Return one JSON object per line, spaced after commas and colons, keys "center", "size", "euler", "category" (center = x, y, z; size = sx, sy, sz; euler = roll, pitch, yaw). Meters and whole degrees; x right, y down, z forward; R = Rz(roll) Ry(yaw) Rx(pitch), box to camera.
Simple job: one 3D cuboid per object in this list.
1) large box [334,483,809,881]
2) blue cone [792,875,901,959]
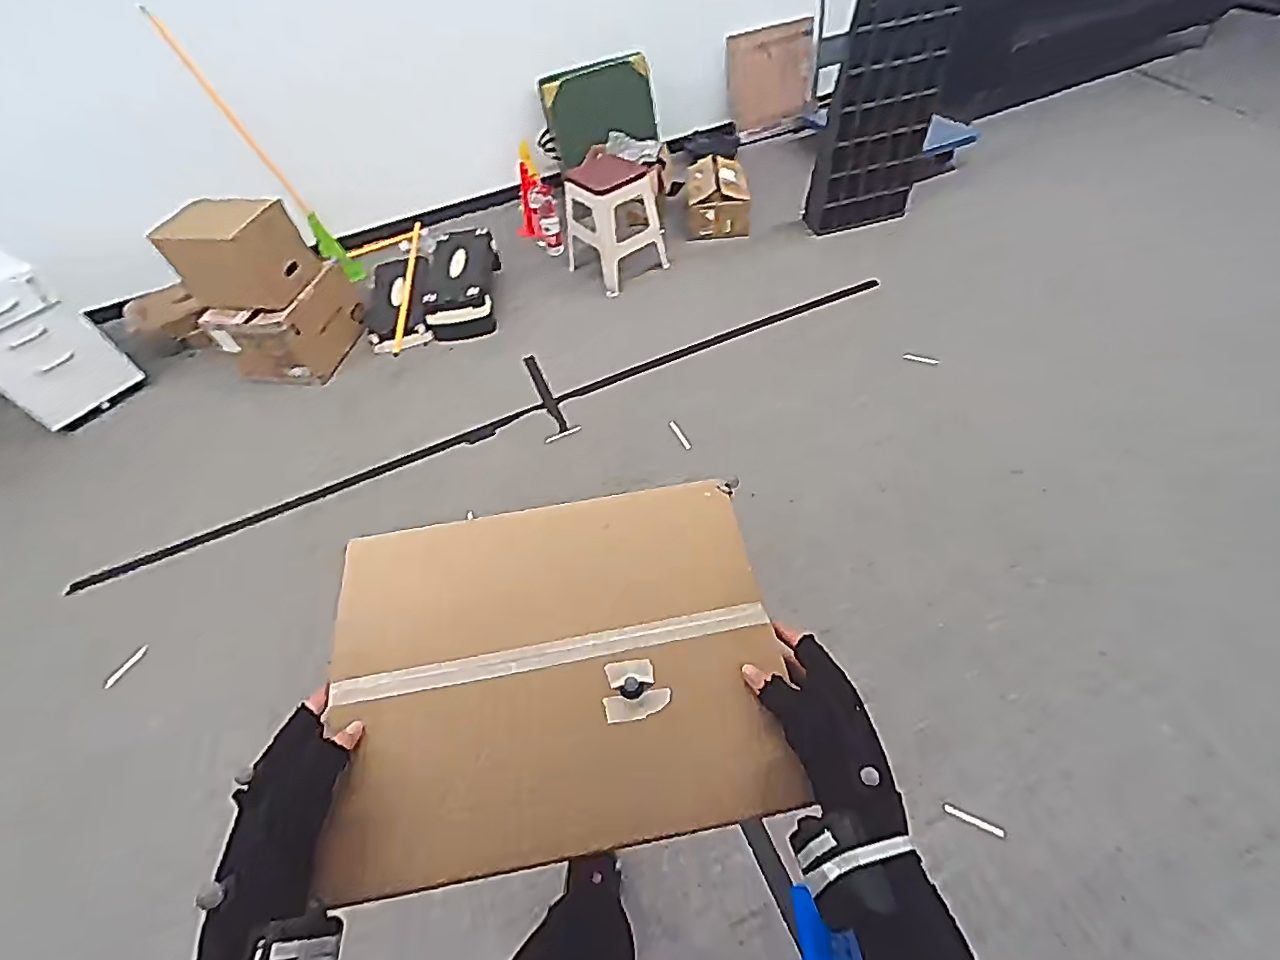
{"center": [-0.072, 0.241, 0.646], "size": [0.408, 0.320, 0.320], "euler": [-8, 58, -4], "category": "large box"}
{"center": [0.404, 0.819, 0.969], "size": [0.193, 0.380, 0.192], "euler": [-5, 50, 3], "category": "blue cone"}
